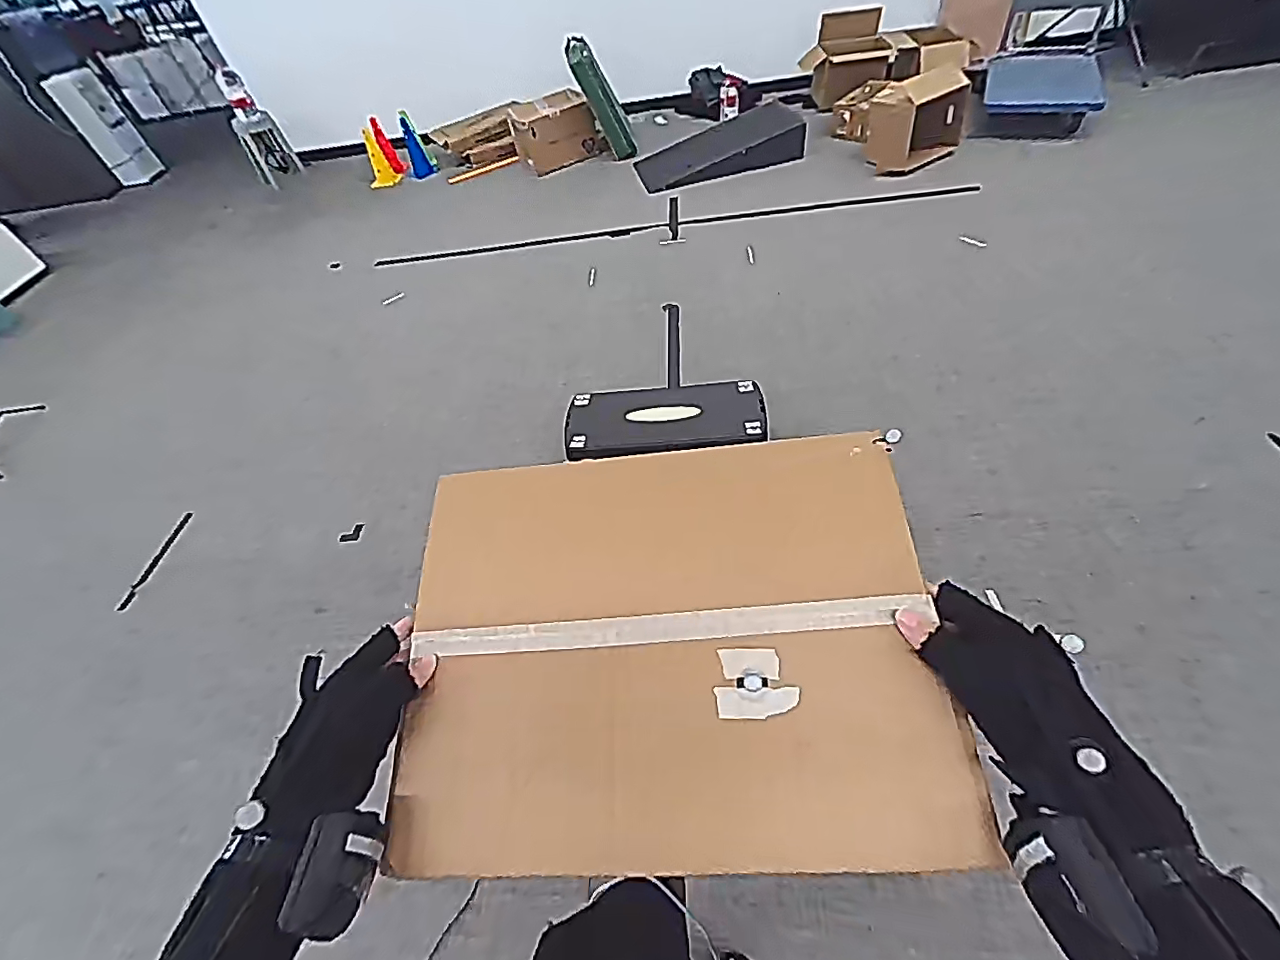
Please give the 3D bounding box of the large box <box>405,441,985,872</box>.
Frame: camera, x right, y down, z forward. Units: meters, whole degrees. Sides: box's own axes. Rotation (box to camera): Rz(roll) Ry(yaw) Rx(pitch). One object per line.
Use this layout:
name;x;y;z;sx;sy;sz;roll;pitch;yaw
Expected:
large box;0.040;0.189;0.564;0.408;0.320;0.320;-6;62;6

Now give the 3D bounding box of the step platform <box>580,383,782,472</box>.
step platform;0.135;-0.153;1.864;0.684;0.204;0.286;-4;50;6
